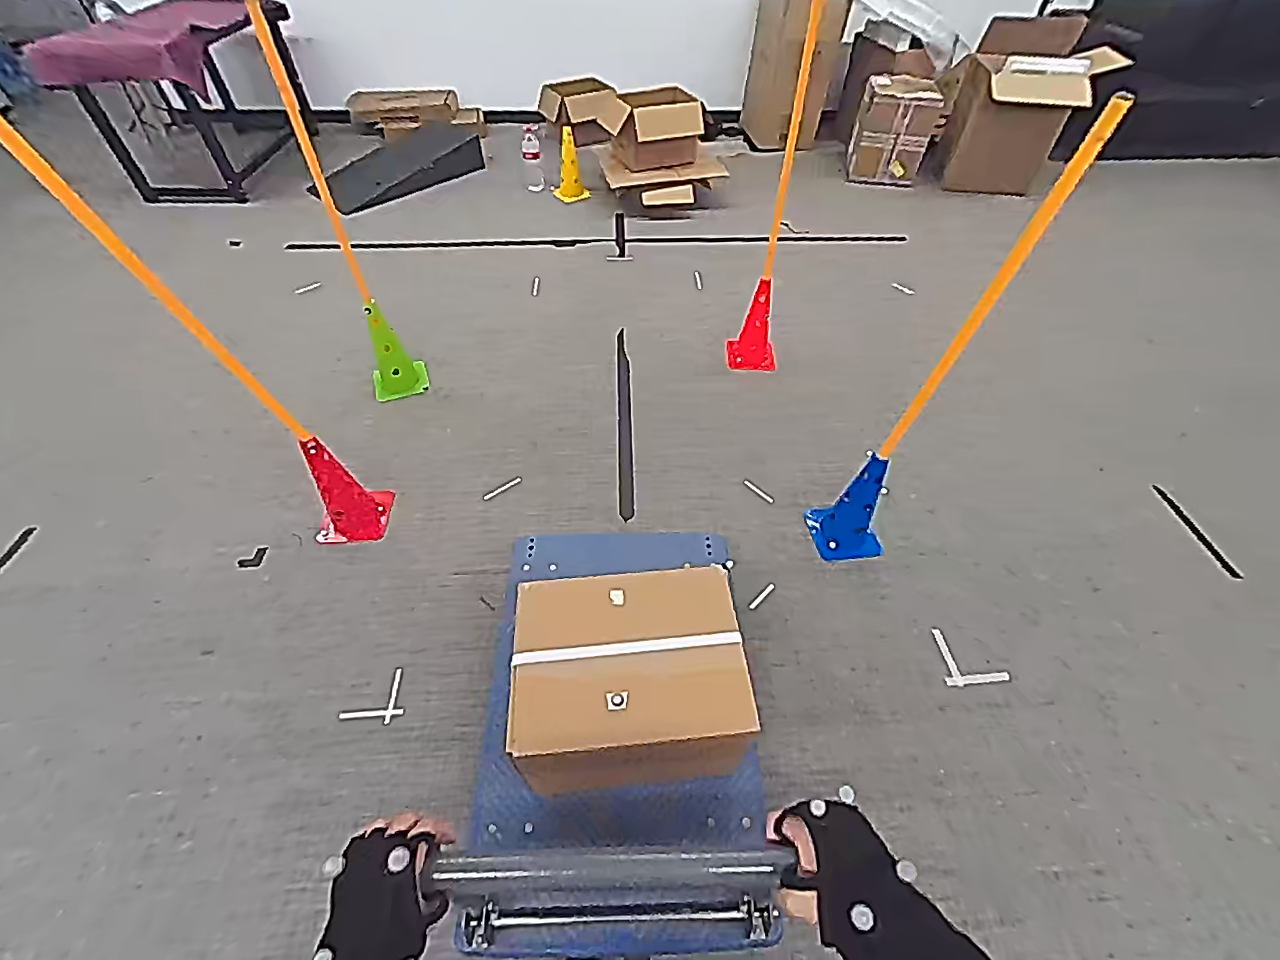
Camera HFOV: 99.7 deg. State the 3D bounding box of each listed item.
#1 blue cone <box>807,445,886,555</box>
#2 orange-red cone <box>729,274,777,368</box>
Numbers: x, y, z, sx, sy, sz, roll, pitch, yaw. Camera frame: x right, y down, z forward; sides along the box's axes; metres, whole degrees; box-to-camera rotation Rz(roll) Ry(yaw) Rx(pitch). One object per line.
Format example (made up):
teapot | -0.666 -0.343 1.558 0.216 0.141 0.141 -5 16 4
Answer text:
blue cone | 0.648 0.046 1.593 0.193 0.380 0.192 -4 49 -5
orange-red cone | 0.480 -0.649 2.157 0.199 0.360 0.198 4 51 1
